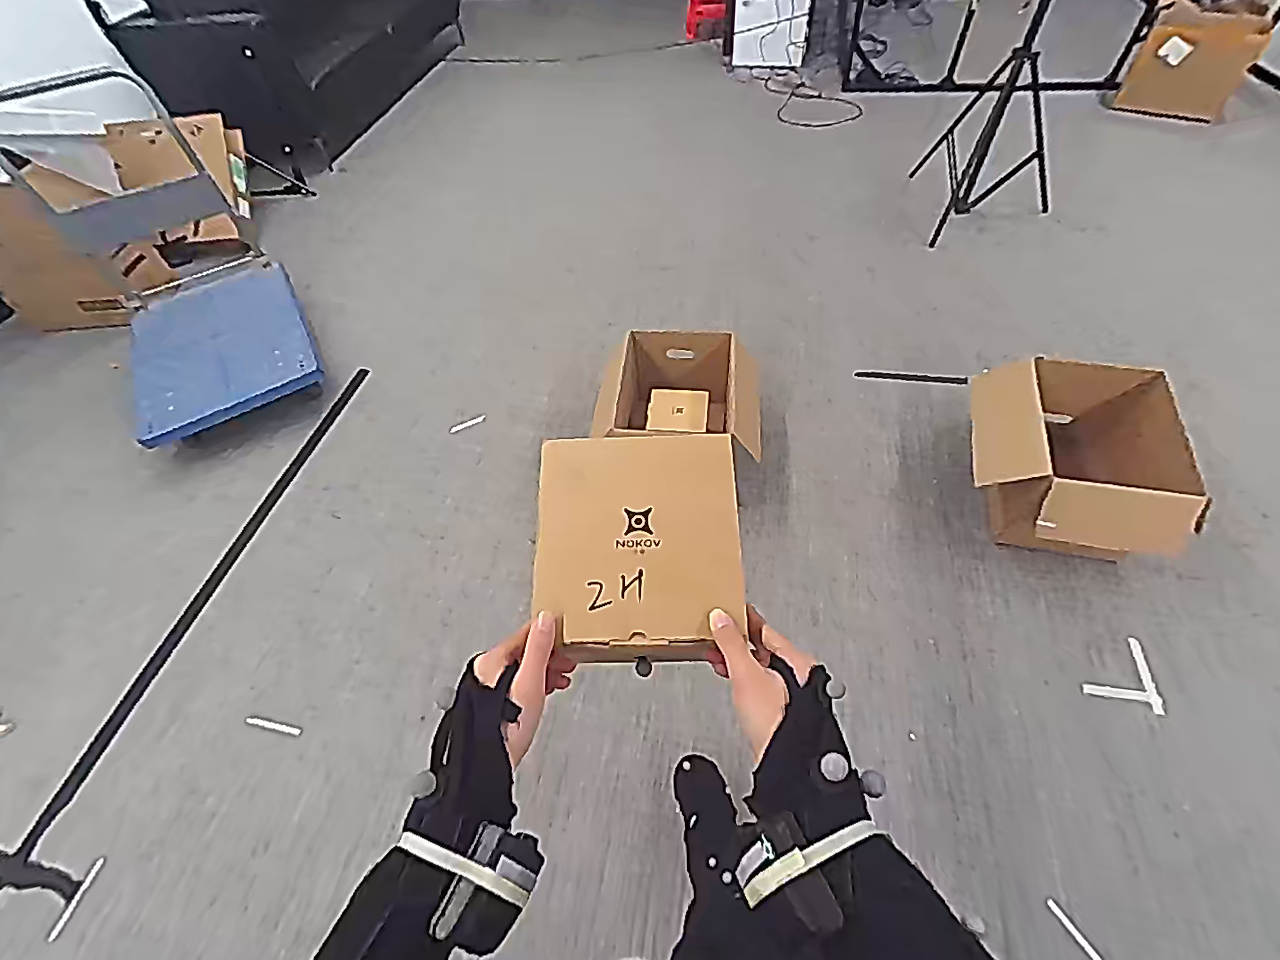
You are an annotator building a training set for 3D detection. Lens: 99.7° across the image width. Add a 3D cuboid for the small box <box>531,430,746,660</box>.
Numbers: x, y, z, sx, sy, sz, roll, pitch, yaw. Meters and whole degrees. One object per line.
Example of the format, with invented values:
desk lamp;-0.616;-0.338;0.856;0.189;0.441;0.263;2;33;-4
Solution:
small box;0.001;0.069;0.512;0.168;0.176;0.179;-2;66;3
